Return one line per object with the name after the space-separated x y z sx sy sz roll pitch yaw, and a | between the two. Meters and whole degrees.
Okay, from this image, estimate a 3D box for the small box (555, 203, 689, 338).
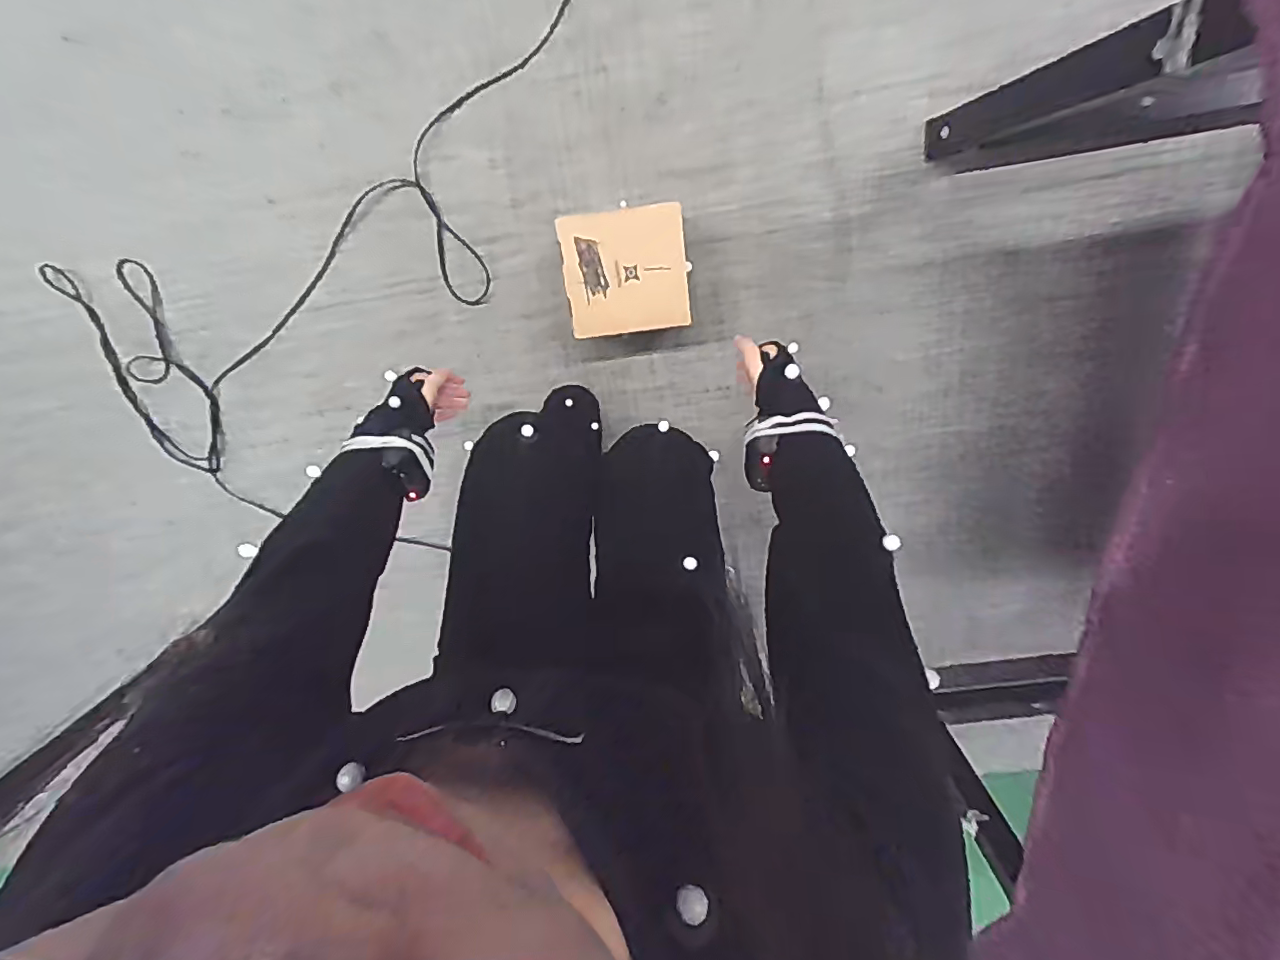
-0.022 -0.322 0.838 0.179 0.176 0.168 -7 113 2 | small box
